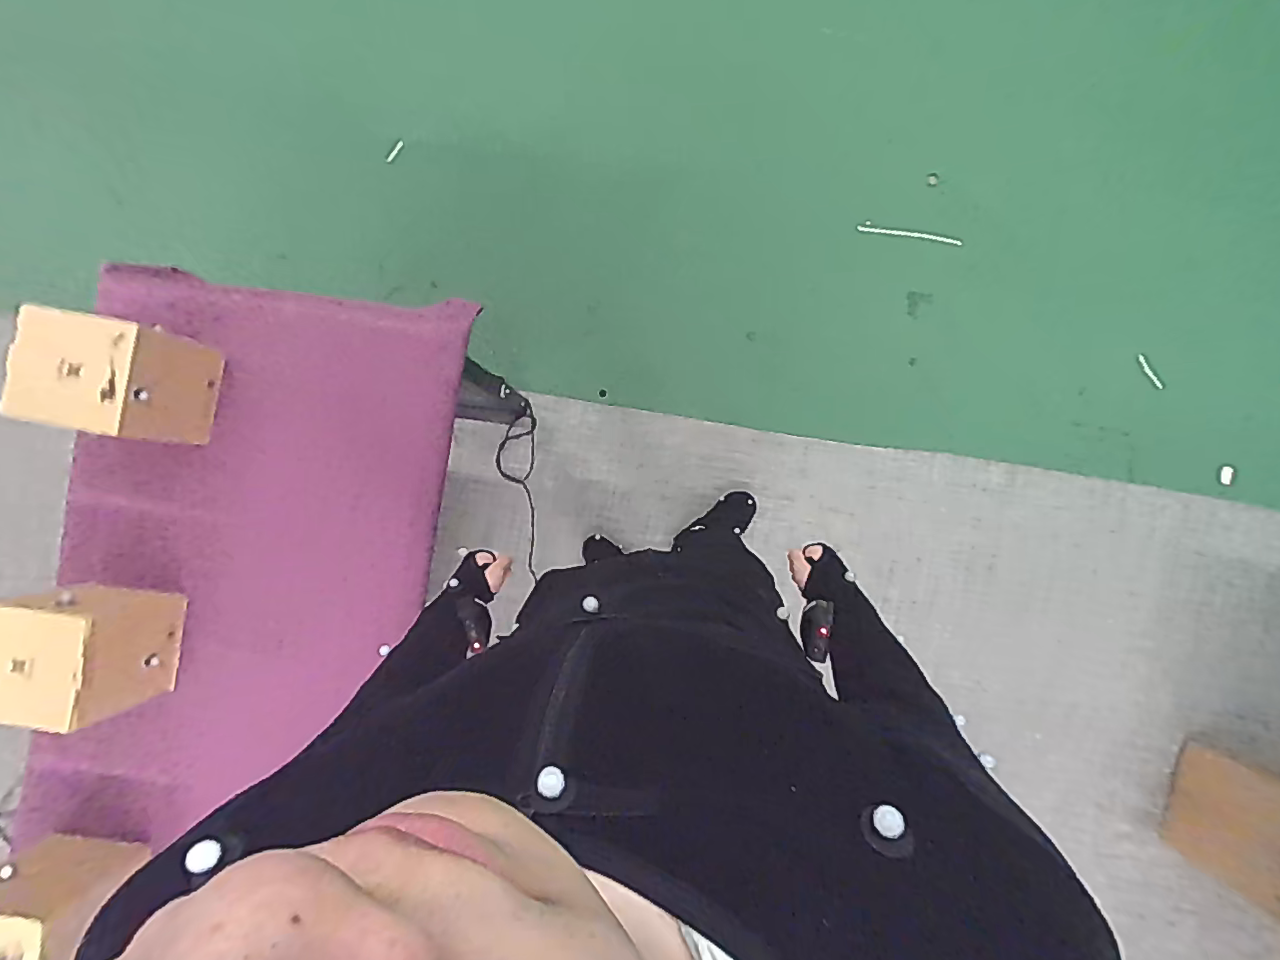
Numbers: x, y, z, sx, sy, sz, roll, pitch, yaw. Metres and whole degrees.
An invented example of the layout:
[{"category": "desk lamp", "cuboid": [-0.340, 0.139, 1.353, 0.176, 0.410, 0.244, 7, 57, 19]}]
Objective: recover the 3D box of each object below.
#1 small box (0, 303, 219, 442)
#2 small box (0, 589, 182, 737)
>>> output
[{"category": "small box", "cuboid": [-0.816, -0.156, 0.841, 0.179, 0.176, 0.168, 11, 91, 0]}, {"category": "small box", "cuboid": [-0.874, 0.270, 0.837, 0.179, 0.176, 0.168, 7, 89, 0]}]
